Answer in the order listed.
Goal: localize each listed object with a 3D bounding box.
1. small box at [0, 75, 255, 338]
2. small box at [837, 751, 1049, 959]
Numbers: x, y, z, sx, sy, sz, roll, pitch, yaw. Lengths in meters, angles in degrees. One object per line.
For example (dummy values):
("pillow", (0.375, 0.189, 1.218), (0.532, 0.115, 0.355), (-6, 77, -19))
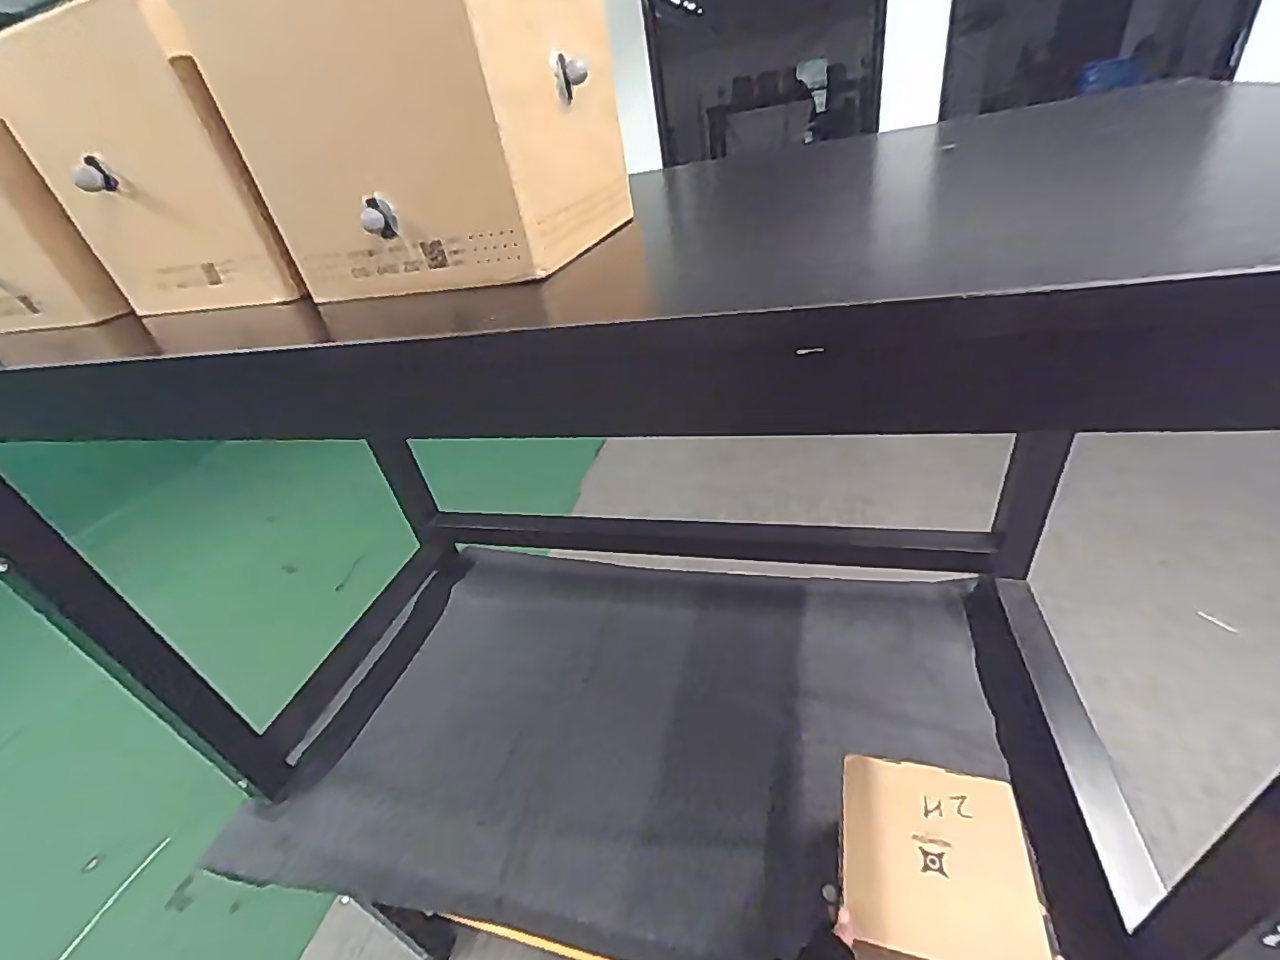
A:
("small box", (-0.486, -0.235, 0.473), (0.168, 0.176, 0.179), (2, 37, 19))
("small box", (0.300, 0.428, 0.572), (0.168, 0.176, 0.179), (2, 35, 19))
